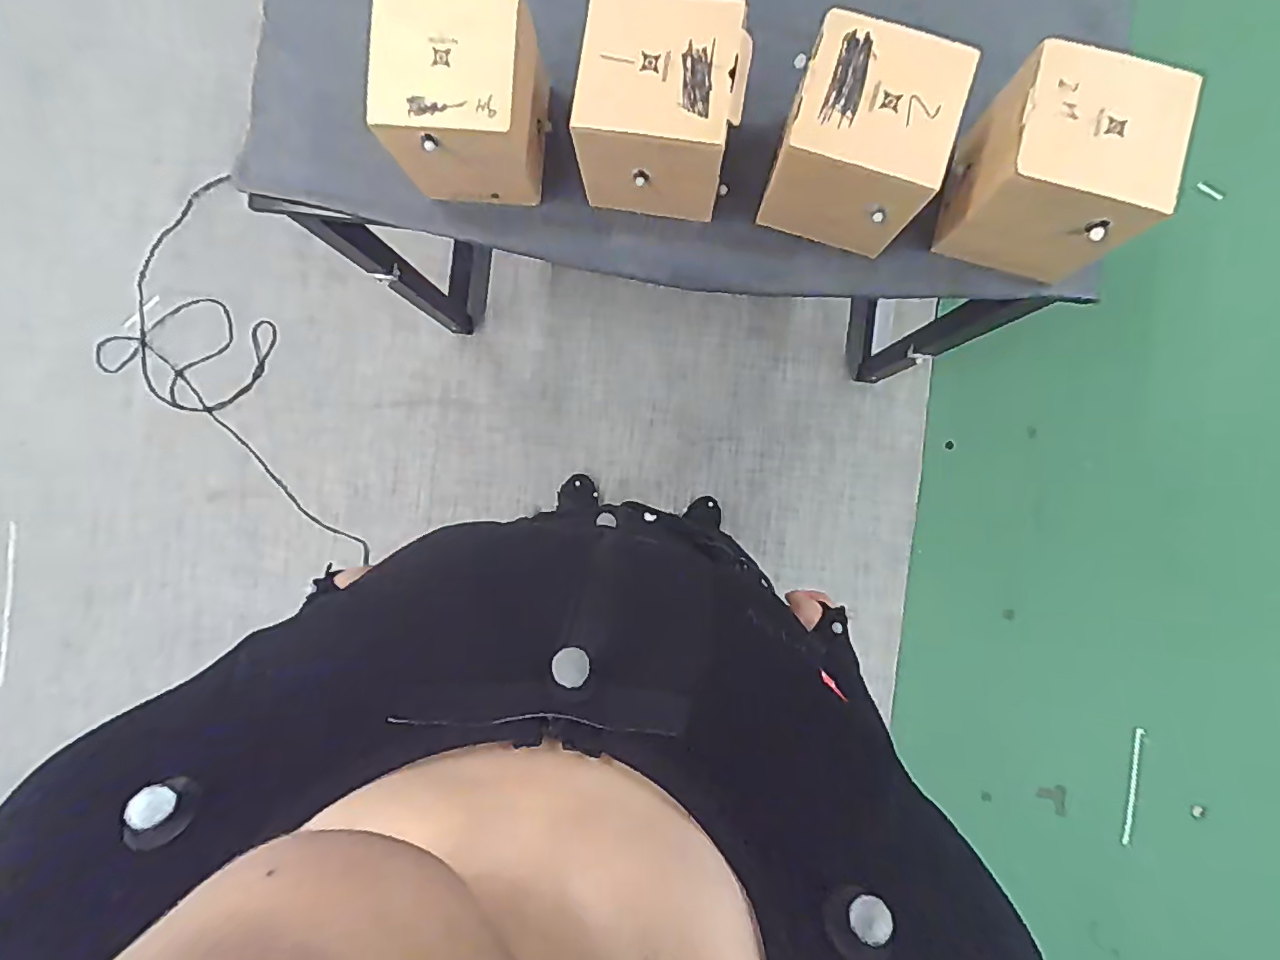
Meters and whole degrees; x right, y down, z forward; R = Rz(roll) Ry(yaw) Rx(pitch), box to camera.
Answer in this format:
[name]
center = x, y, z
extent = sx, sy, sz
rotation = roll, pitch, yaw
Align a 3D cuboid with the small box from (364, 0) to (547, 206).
[small box]
center = -0.218, -0.479, 0.682
extent = 0.168, 0.176, 0.179
rotation = 5, 90, 2
